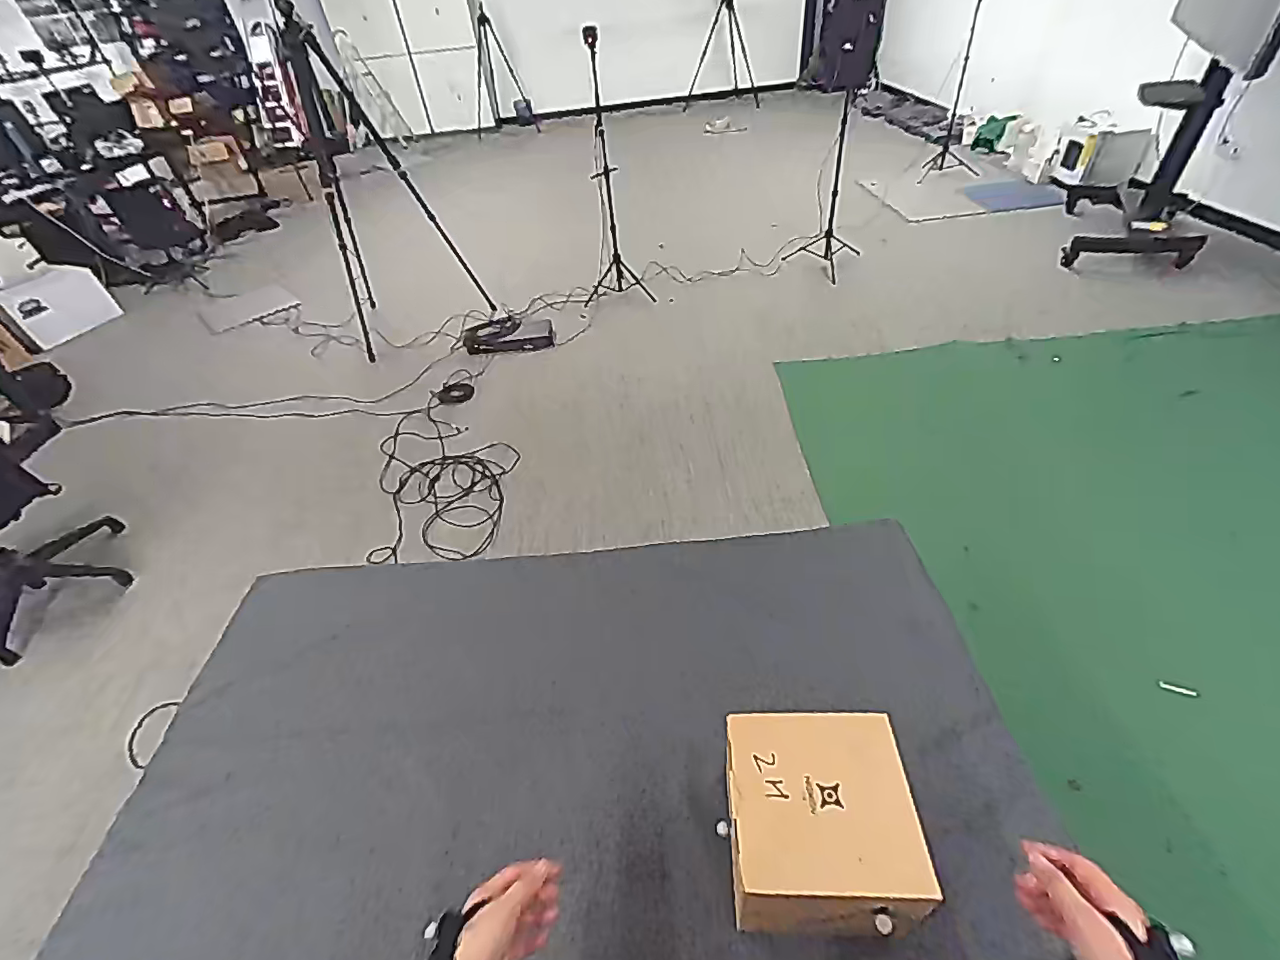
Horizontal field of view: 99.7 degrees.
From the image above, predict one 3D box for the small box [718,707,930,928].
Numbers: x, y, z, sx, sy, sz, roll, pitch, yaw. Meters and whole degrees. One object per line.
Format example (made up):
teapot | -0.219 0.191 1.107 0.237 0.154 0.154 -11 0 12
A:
small box | 0.176 0.363 0.585 0.179 0.176 0.168 -3 42 6
